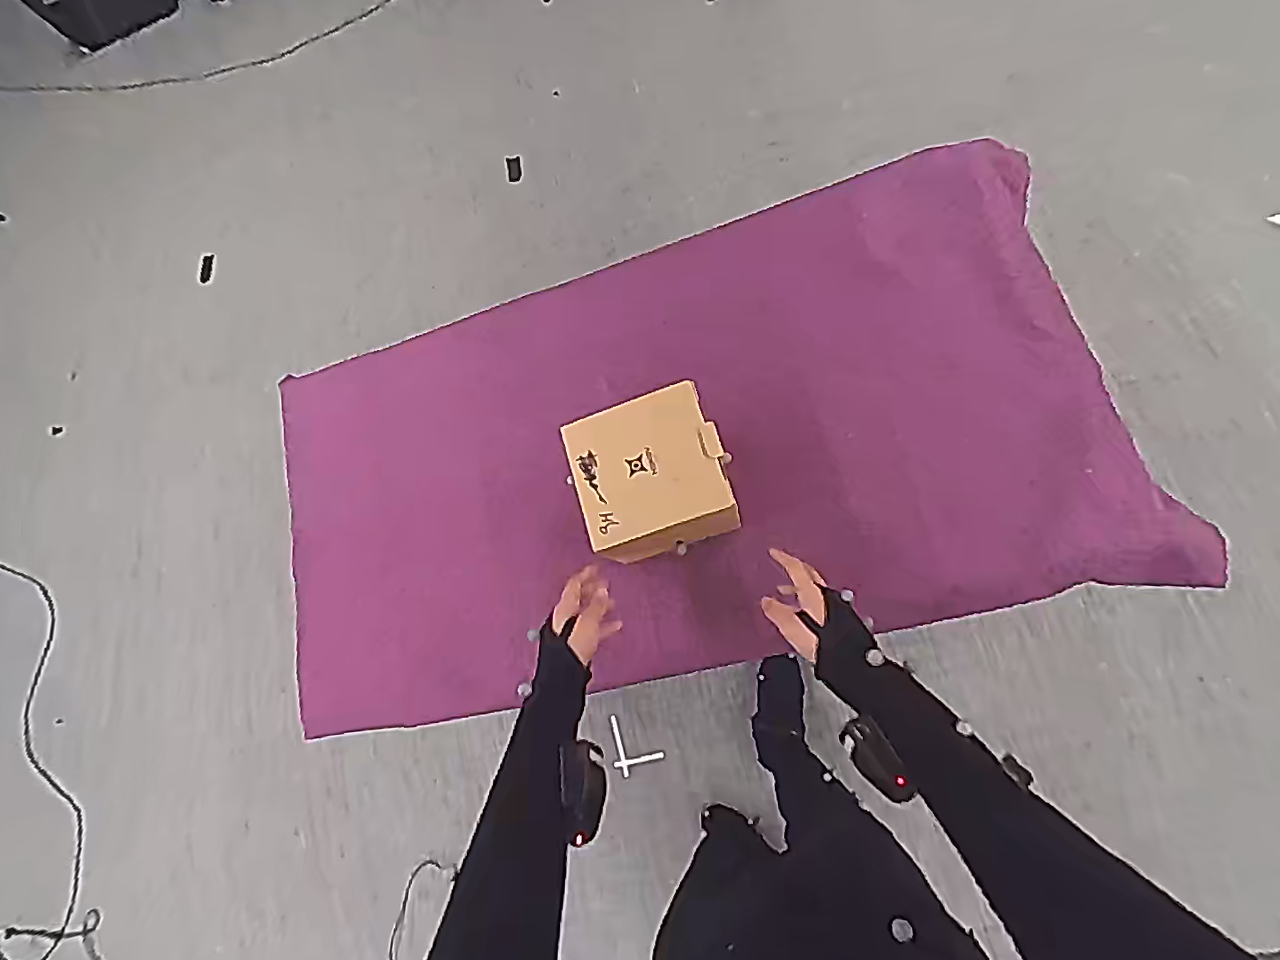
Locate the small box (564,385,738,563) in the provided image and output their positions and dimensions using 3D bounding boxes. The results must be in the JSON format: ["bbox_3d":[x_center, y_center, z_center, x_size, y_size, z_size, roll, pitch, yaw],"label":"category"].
[{"bbox_3d":[0.022,0.003,0.713,0.179,0.176,0.168,-19,73,7],"label":"small box"}]
